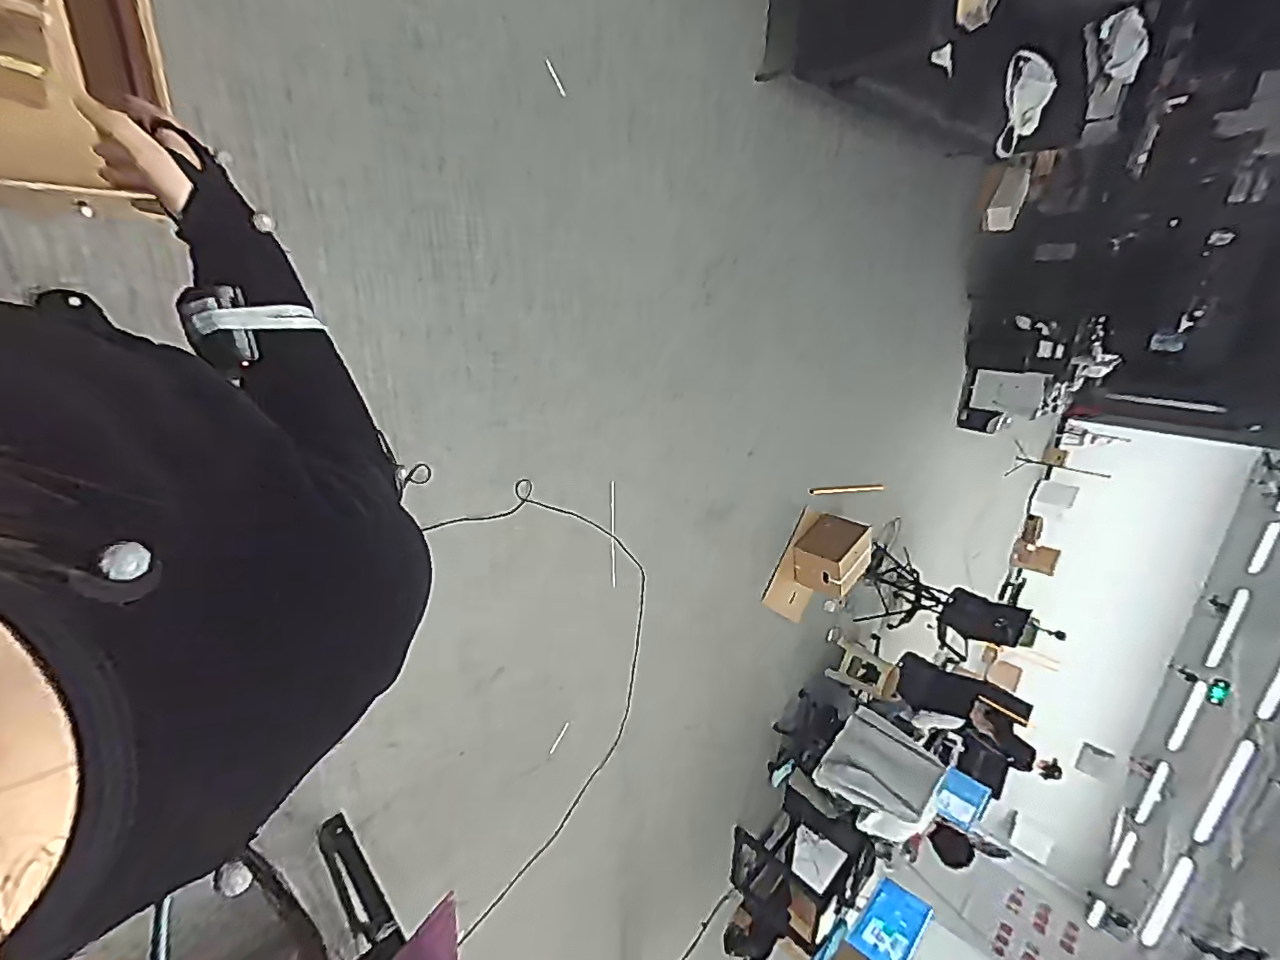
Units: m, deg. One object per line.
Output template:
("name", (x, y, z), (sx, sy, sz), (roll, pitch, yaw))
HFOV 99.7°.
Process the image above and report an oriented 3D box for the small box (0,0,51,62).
("small box", (-0.588, -0.460, 0.411), (0.168, 0.176, 0.179), (-13, 113, -43))
